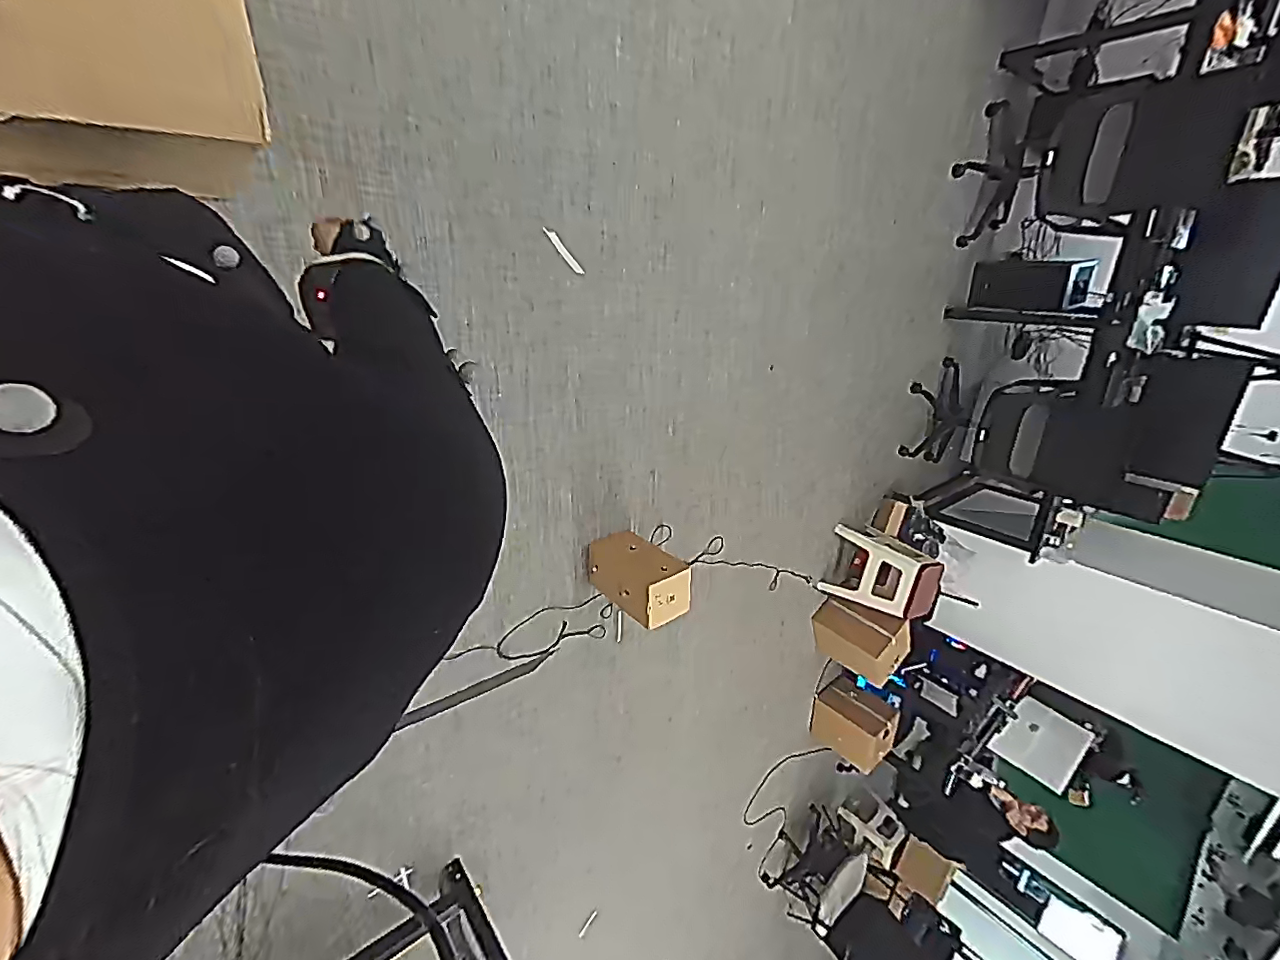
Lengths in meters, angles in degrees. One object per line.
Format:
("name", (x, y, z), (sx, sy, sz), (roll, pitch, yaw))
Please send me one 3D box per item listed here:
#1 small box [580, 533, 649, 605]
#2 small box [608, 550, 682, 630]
("small box", (-0.089, 0.298, 1.860), (0.179, 0.176, 0.168), (-15, 116, -36))
("small box", (0.015, 0.346, 1.741), (0.179, 0.176, 0.168), (-17, 117, -36))
